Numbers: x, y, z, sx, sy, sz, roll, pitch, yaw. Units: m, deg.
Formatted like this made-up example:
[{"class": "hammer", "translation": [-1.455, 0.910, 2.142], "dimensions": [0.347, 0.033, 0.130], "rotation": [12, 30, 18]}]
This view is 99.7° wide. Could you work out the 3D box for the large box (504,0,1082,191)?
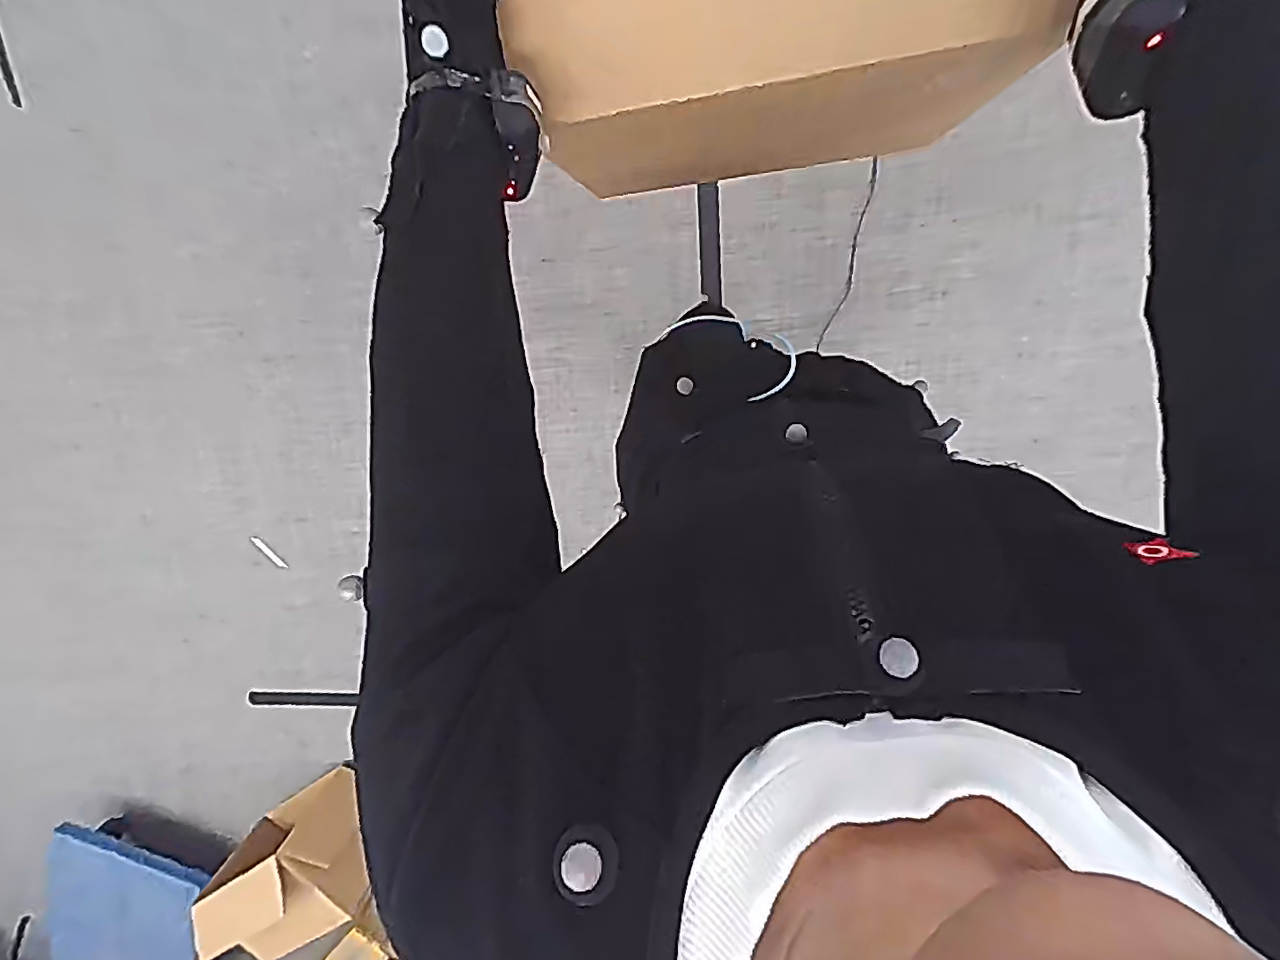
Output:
[{"class": "large box", "translation": [0.102, -0.486, 0.482], "dimensions": [0.408, 0.320, 0.320], "rotation": [-5, 108, 9]}]
